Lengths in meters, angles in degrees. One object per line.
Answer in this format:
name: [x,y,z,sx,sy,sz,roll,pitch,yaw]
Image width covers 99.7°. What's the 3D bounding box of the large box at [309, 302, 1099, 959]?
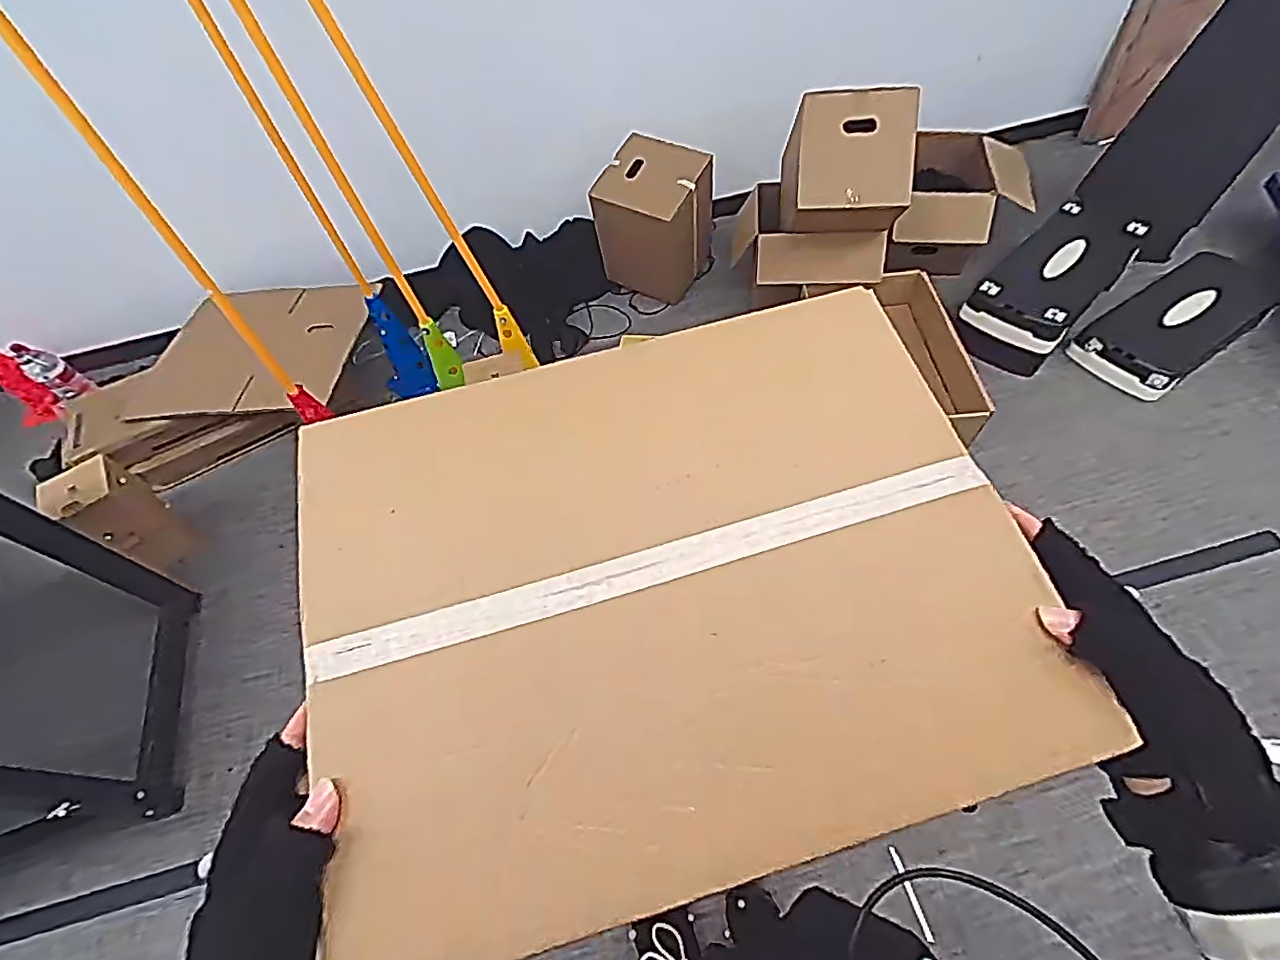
large box: [0.017,0.115,0.458,0.408,0.320,0.320,-16,67,-4]
